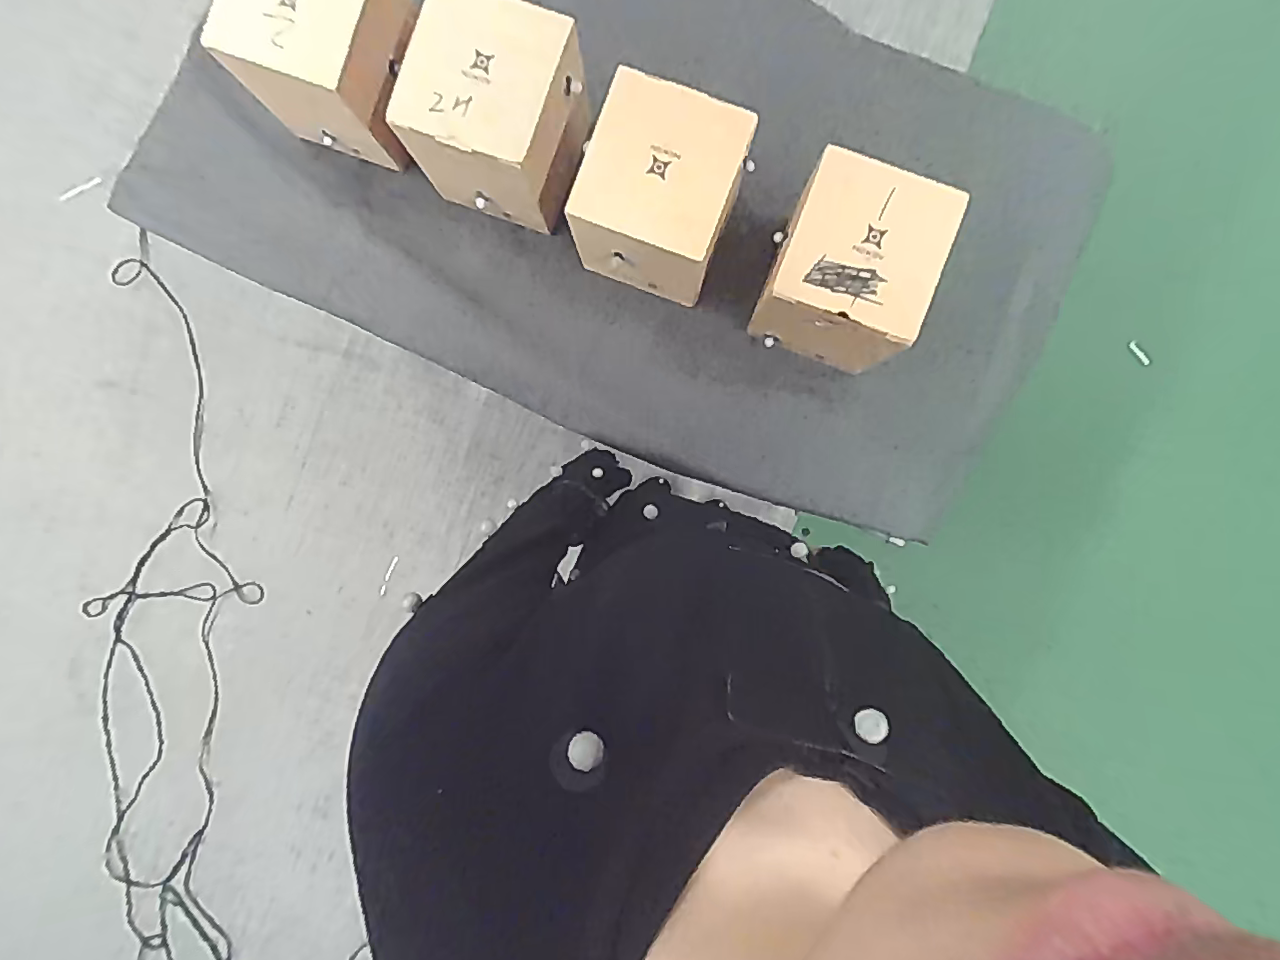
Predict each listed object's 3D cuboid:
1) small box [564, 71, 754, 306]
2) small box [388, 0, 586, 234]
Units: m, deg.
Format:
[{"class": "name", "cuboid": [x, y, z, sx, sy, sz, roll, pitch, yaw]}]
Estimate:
[{"class": "small box", "cuboid": [0.024, -0.343, 0.674, 0.168, 0.176, 0.179, 21, 90, 2]}, {"class": "small box", "cuboid": [-0.174, -0.449, 0.677, 0.168, 0.176, 0.179, 20, 90, 2]}]
